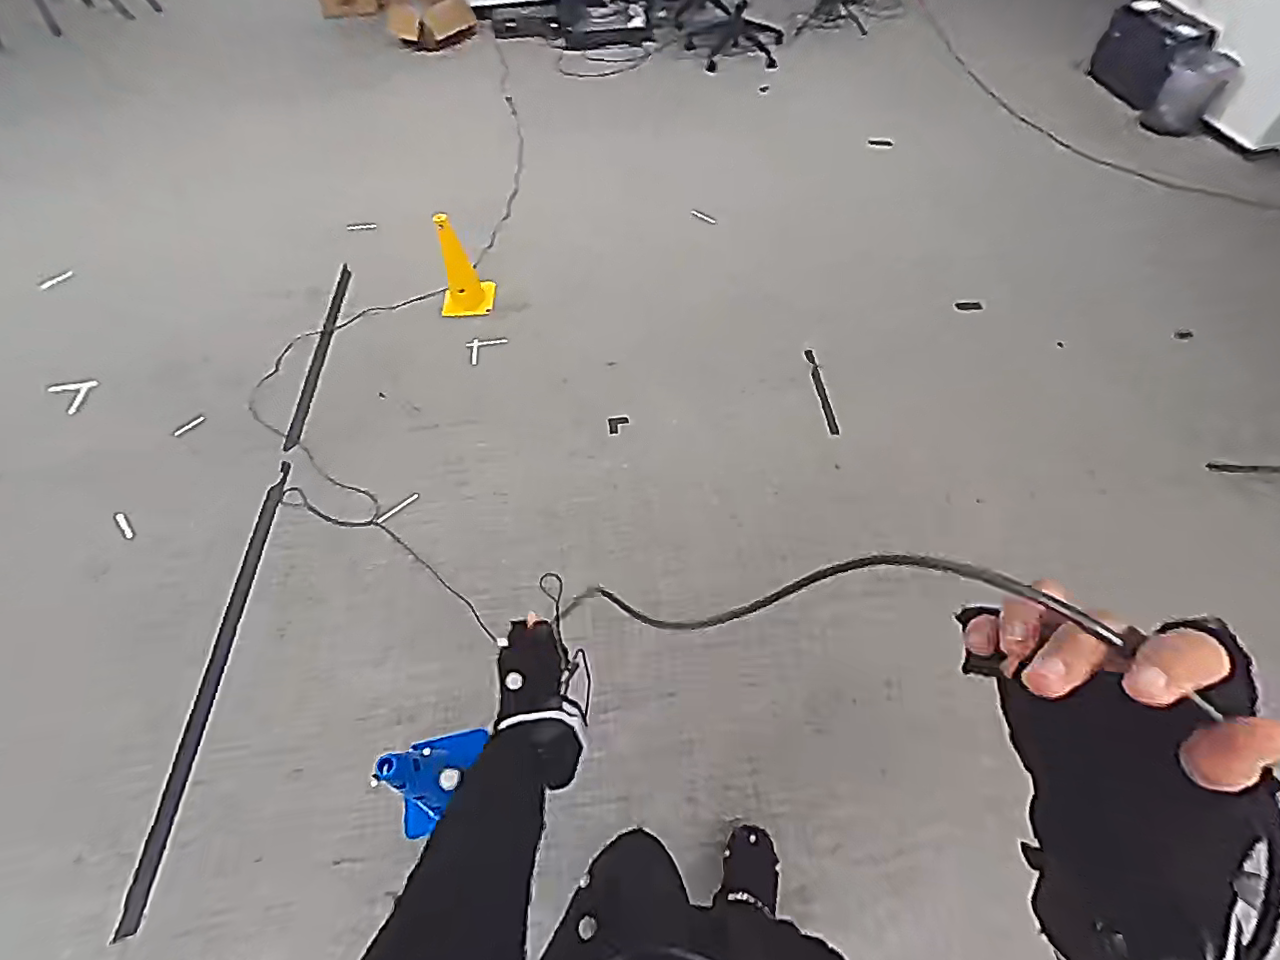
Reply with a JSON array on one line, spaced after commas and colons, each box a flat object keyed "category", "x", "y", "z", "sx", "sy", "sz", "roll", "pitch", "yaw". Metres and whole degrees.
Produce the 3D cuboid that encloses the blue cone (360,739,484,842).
[{"category": "blue cone", "x": -0.466, "y": 0.628, "z": 1.124, "sx": 0.192, "sy": 0.380, "sz": 0.193, "roll": -10, "pitch": 57, "yaw": -4}]
